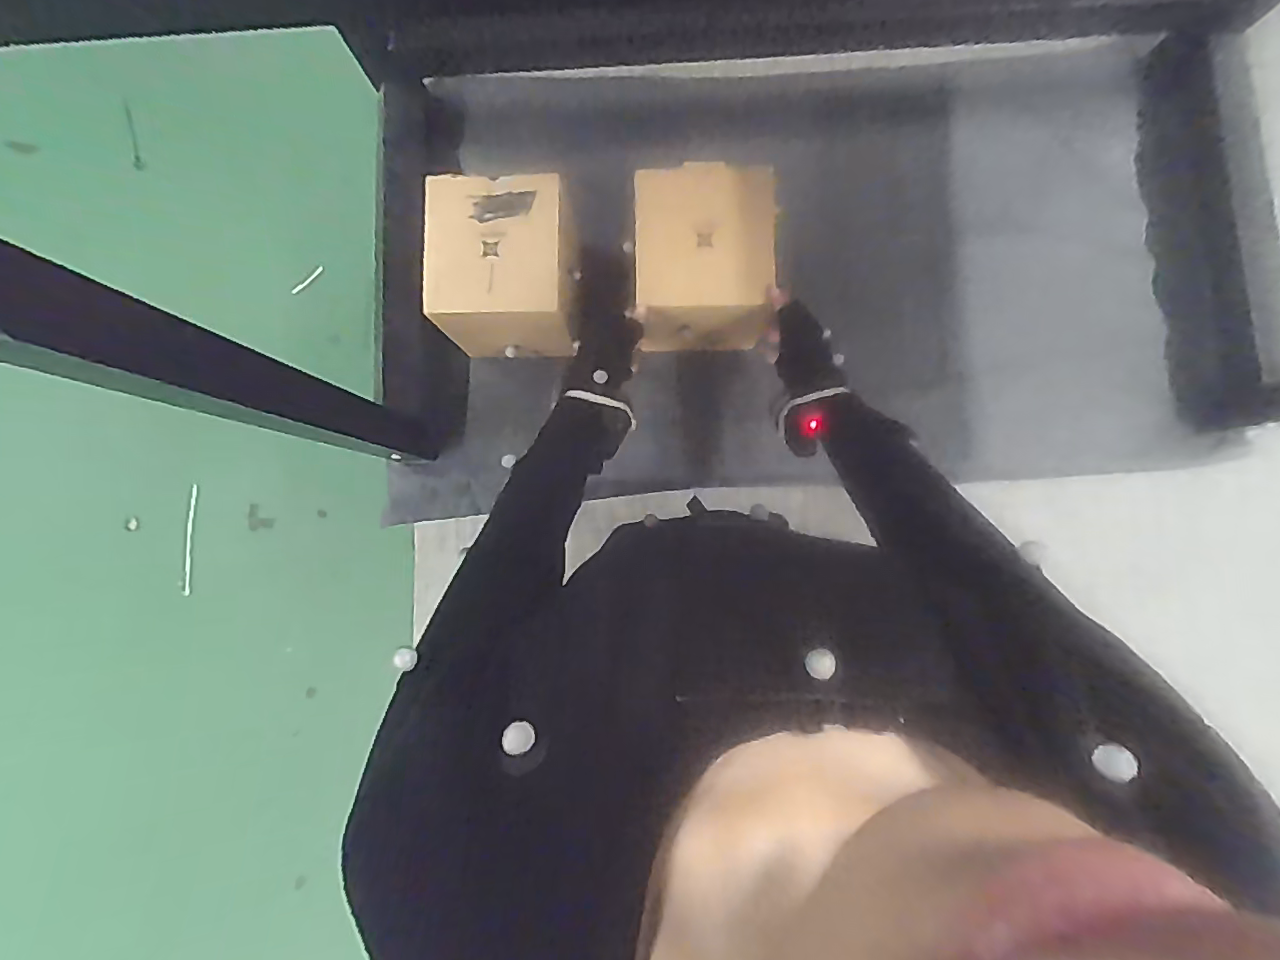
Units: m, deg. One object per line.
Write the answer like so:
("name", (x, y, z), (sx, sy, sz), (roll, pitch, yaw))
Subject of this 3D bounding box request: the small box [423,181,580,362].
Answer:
("small box", (-0.176, -0.272, 0.735), (0.168, 0.176, 0.179), (0, 84, 2))

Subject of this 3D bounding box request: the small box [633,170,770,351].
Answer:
("small box", (0.077, -0.280, 0.728), (0.168, 0.176, 0.179), (-1, 84, 2))
